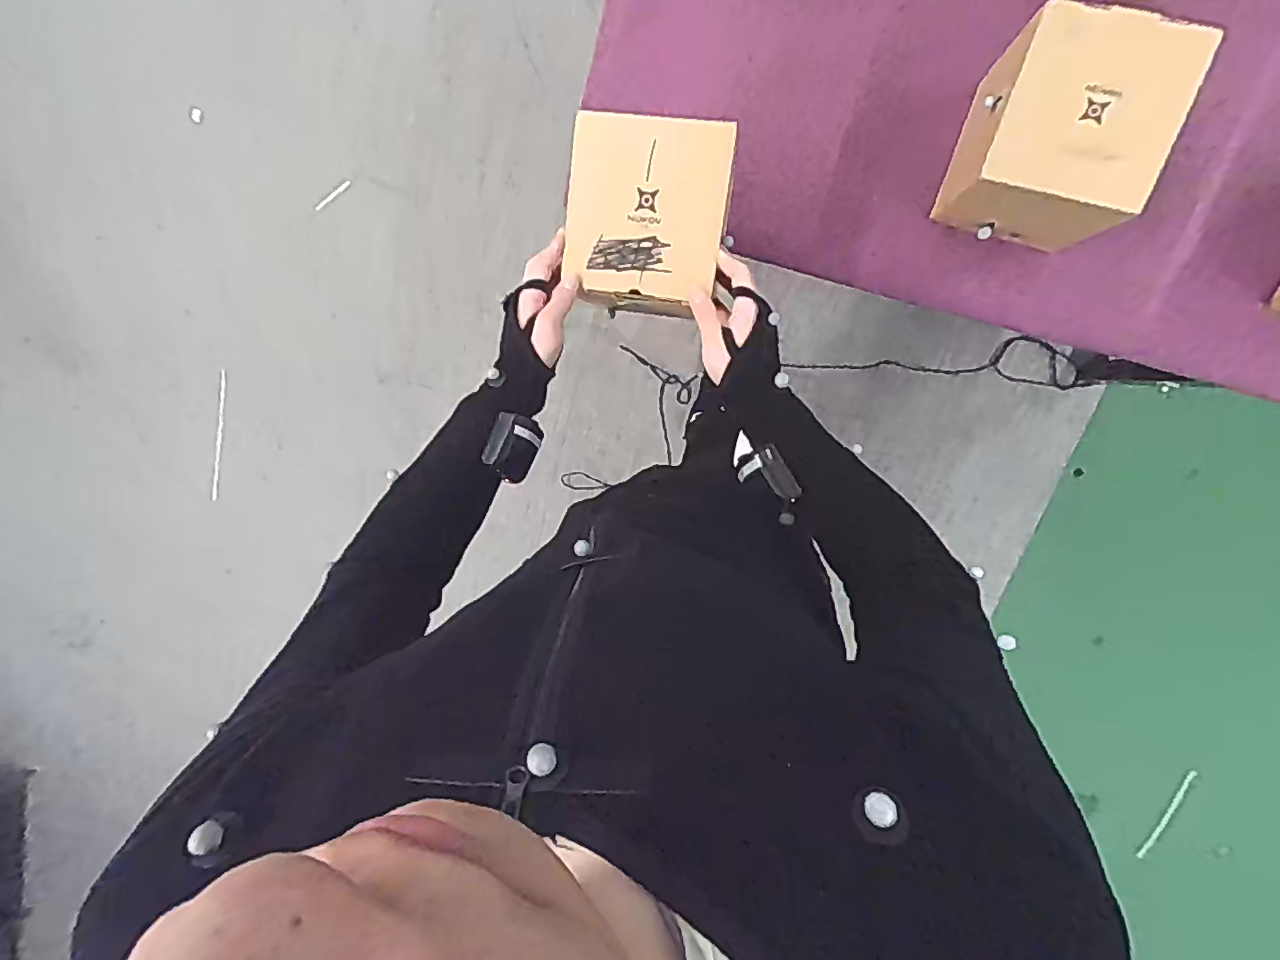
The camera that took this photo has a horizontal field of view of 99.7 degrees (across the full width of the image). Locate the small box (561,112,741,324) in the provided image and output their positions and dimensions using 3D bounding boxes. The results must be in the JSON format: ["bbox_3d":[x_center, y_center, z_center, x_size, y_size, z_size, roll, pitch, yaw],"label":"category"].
[{"bbox_3d":[0.018,-0.286,0.629,0.168,0.176,0.179,9,100,5],"label":"small box"}]

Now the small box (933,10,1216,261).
[{"bbox_3d":[0.476,-0.381,0.631,0.168,0.176,0.179,18,102,7],"label":"small box"}]
